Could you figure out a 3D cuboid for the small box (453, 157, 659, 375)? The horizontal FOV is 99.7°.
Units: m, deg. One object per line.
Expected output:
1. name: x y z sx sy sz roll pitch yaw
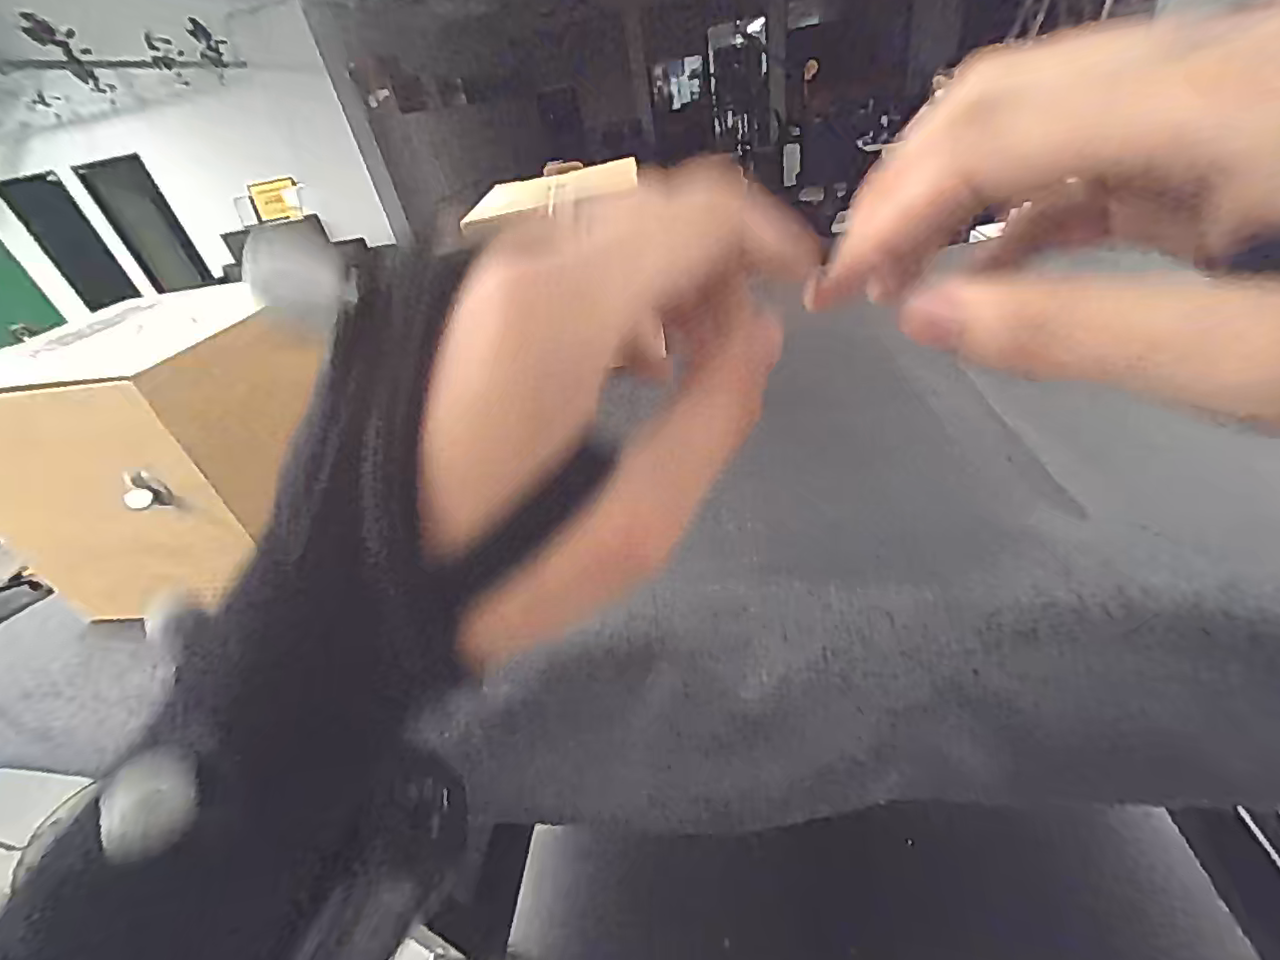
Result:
1. small box: -0.075 -0.233 0.588 0.168 0.176 0.179 -10 36 5
